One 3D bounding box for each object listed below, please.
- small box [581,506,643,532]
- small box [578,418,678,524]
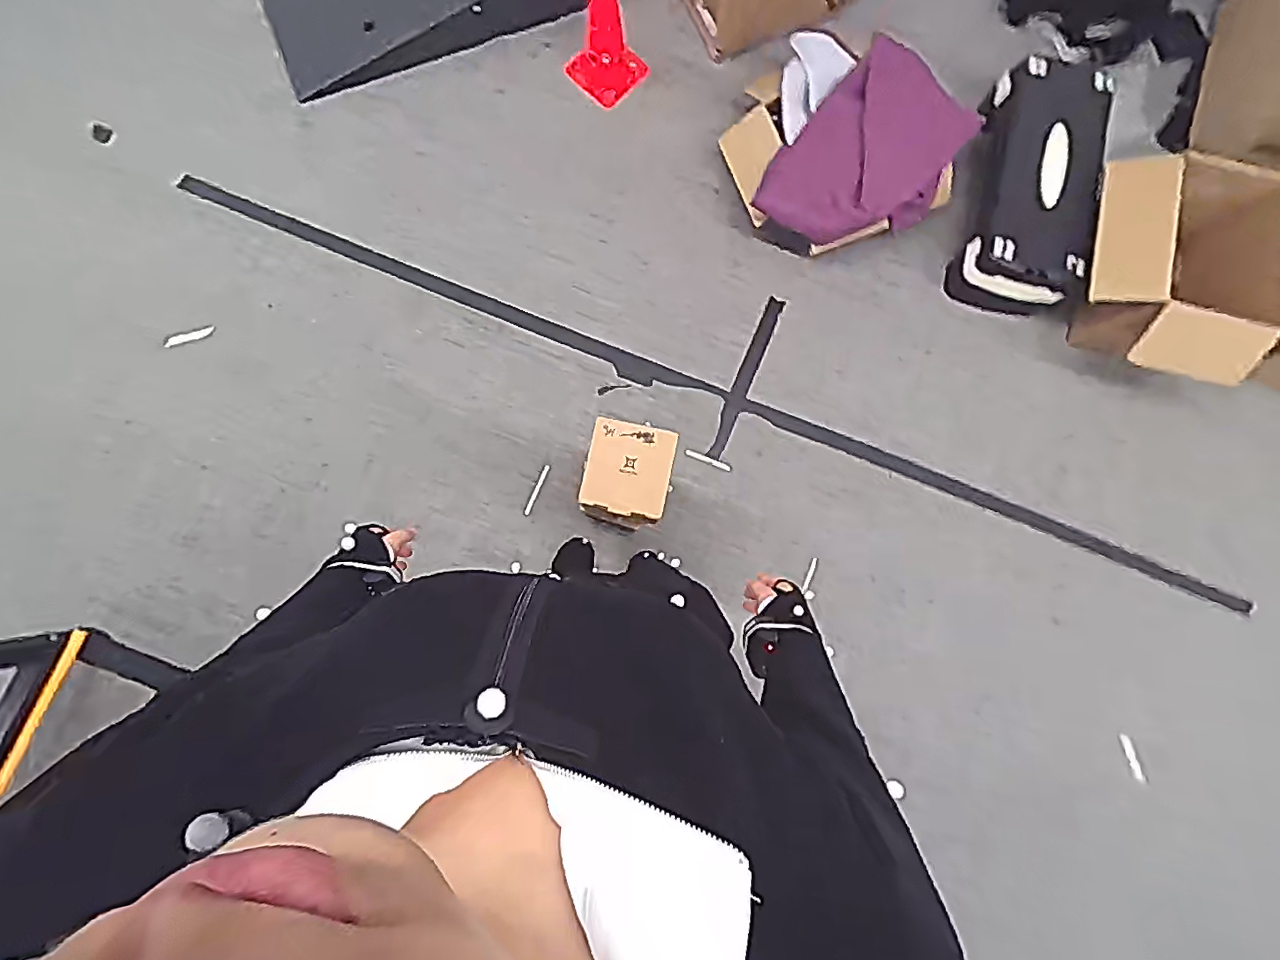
[{"bbox_3d":[-0.048,0.032,1.447,0.168,0.176,0.179,19,84,2],"label":"small box"},{"bbox_3d":[-0.021,-0.010,1.120,0.168,0.176,0.179,13,83,1],"label":"small box"}]
